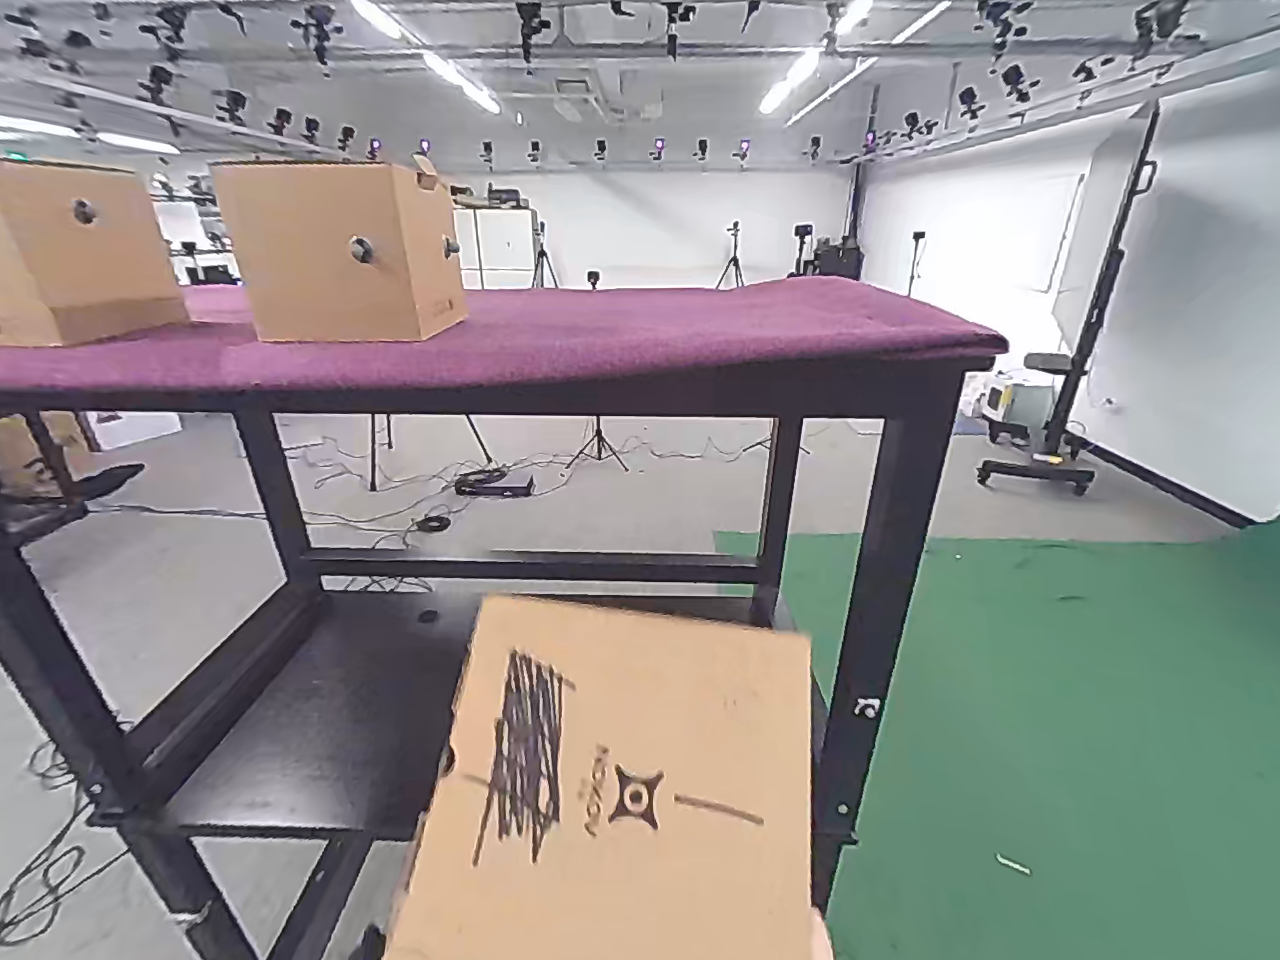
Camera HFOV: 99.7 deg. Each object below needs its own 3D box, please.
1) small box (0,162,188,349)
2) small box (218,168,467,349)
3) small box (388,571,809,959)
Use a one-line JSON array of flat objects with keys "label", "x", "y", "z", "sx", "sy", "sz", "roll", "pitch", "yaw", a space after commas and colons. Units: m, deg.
[{"label": "small box", "x": -0.652, "y": -0.242, "z": 0.589, "sx": 0.168, "sy": 0.176, "sz": 0.179, "roll": 1, "pitch": 25, "yaw": -1}, {"label": "small box", "x": -0.310, "y": -0.248, "z": 0.613, "sx": 0.179, "sy": 0.176, "sz": 0.168, "roll": -1, "pitch": 24, "yaw": 1}, {"label": "small box", "x": -0.006, "y": 0.166, "z": 0.324, "sx": 0.179, "sy": 0.176, "sz": 0.168, "roll": 6, "pitch": 64, "yaw": 6}]
